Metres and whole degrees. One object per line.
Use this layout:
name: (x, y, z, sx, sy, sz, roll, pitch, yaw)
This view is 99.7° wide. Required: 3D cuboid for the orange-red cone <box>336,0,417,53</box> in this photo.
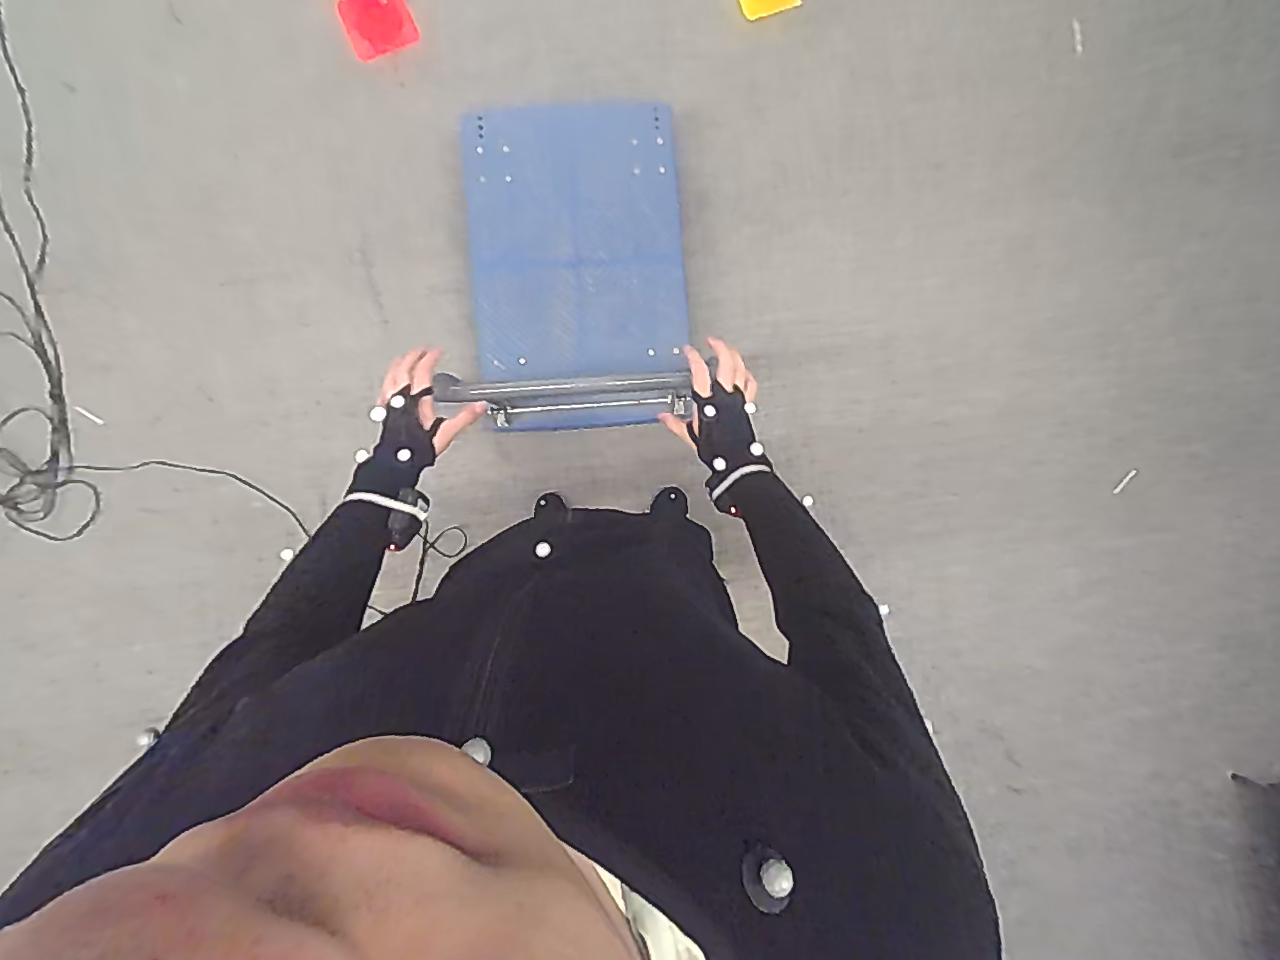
orange-red cone: (-0.776, -1.381, 1.432, 0.199, 0.360, 0.198, -22, 90, -1)
